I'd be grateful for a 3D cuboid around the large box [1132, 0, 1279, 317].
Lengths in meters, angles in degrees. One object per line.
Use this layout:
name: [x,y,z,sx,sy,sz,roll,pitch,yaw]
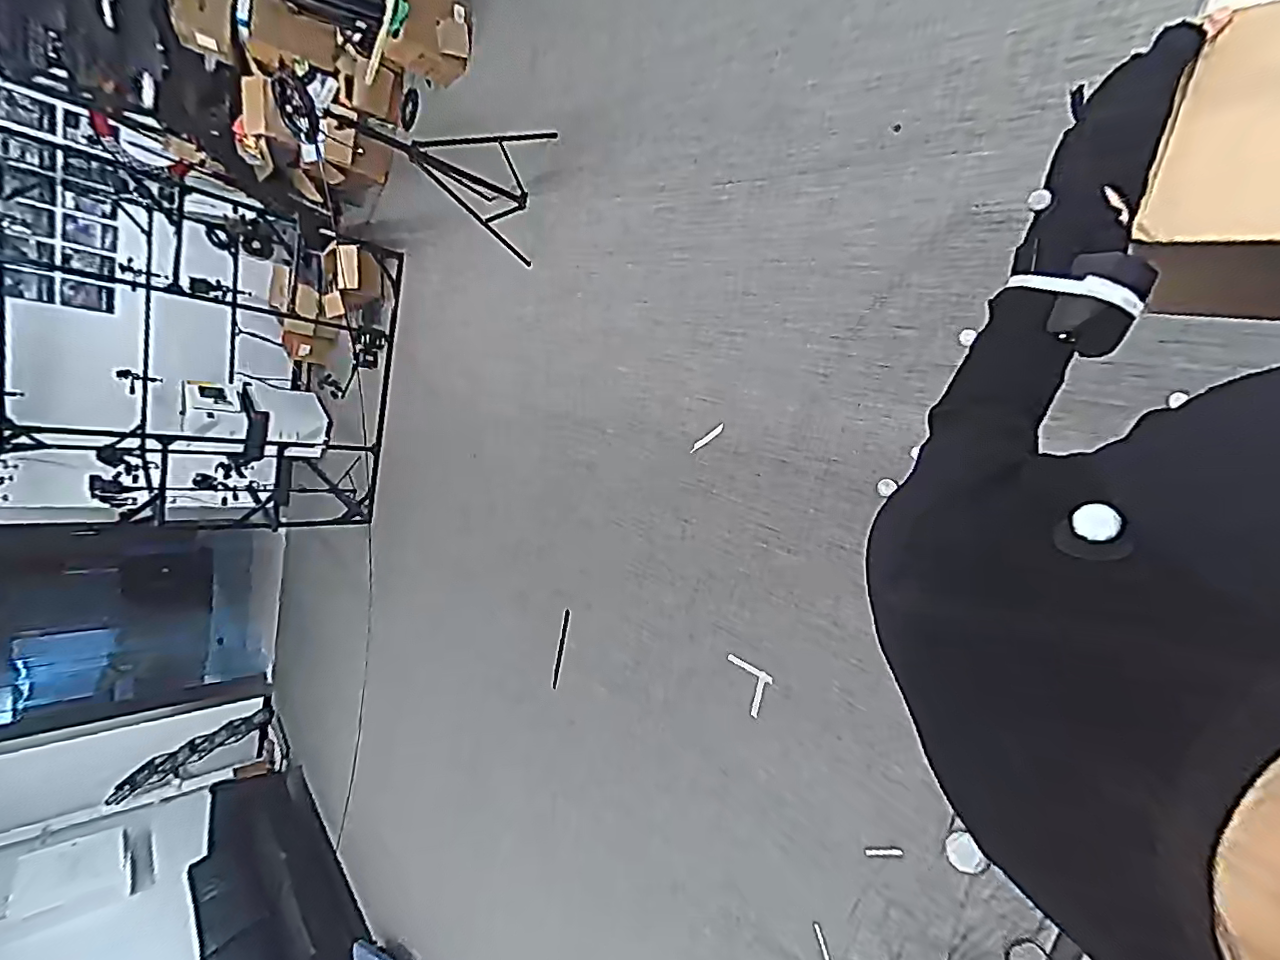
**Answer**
large box: [0.640,-0.287,0.361,0.408,0.320,0.320,21,108,41]
